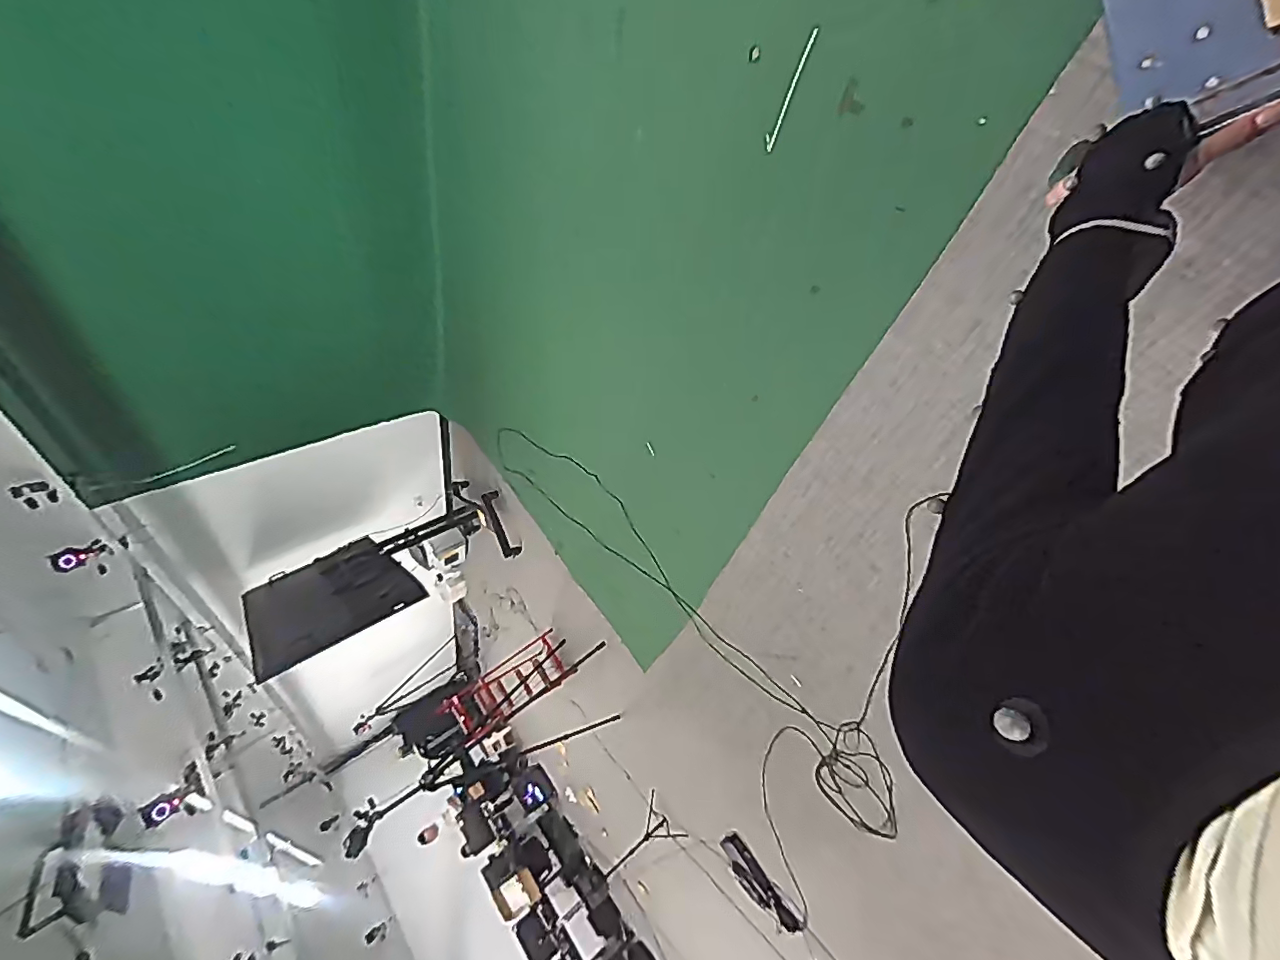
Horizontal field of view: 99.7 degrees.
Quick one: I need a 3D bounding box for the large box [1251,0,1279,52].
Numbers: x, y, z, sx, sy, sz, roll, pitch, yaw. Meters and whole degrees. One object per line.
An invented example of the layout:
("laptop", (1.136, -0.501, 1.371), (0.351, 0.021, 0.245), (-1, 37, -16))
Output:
("large box", (0.940, -0.806, 0.631), (0.320, 0.320, 0.408), (-9, 102, 55))
